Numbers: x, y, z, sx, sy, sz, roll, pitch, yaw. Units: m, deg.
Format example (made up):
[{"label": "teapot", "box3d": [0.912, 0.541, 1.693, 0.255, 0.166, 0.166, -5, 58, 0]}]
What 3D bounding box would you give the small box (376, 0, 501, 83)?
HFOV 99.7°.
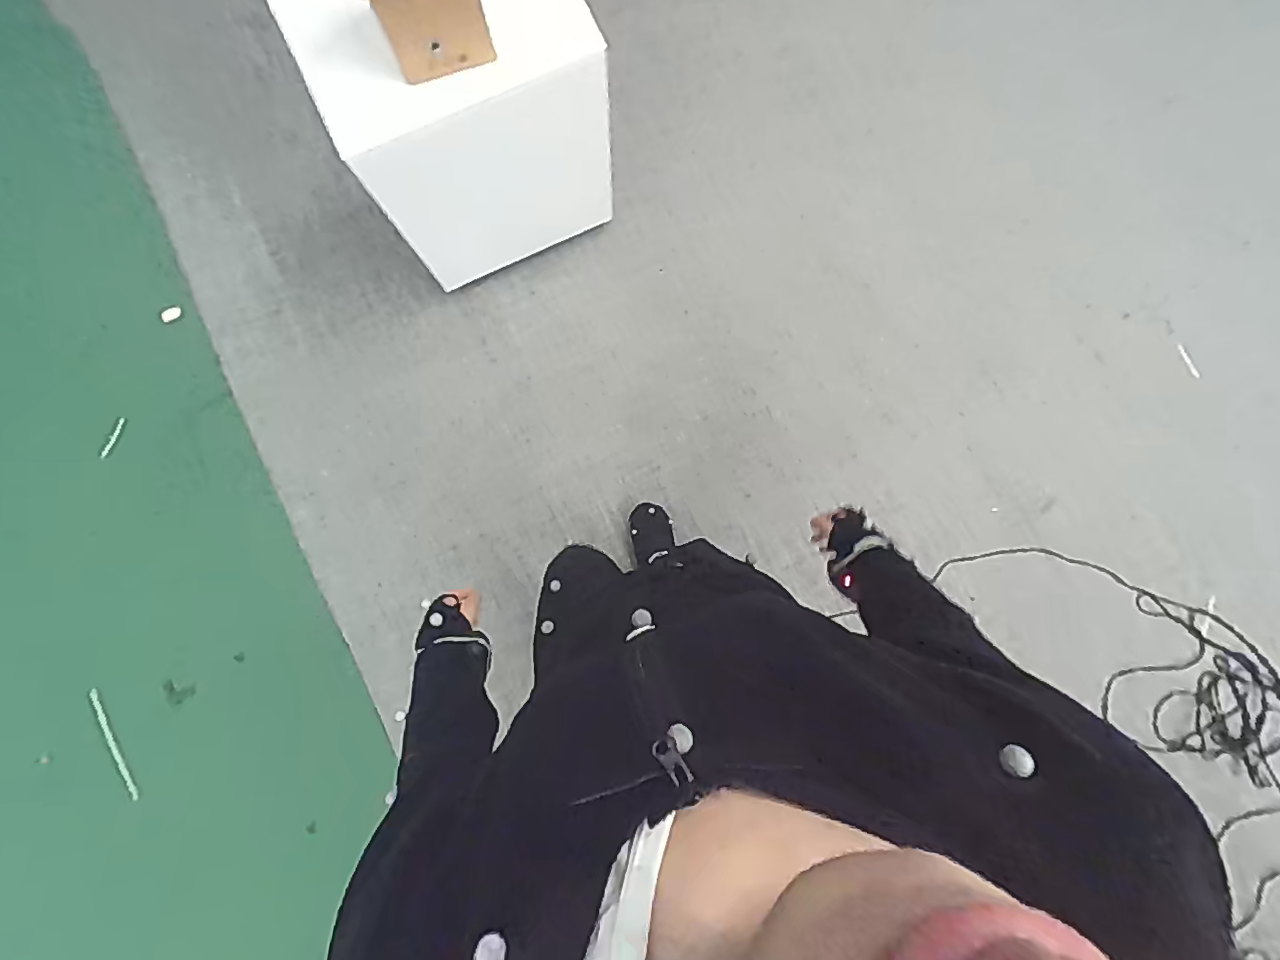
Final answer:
[{"label": "small box", "box3d": [-0.343, -0.804, 0.876, 0.168, 0.176, 0.179, -19, 86, -3]}]
